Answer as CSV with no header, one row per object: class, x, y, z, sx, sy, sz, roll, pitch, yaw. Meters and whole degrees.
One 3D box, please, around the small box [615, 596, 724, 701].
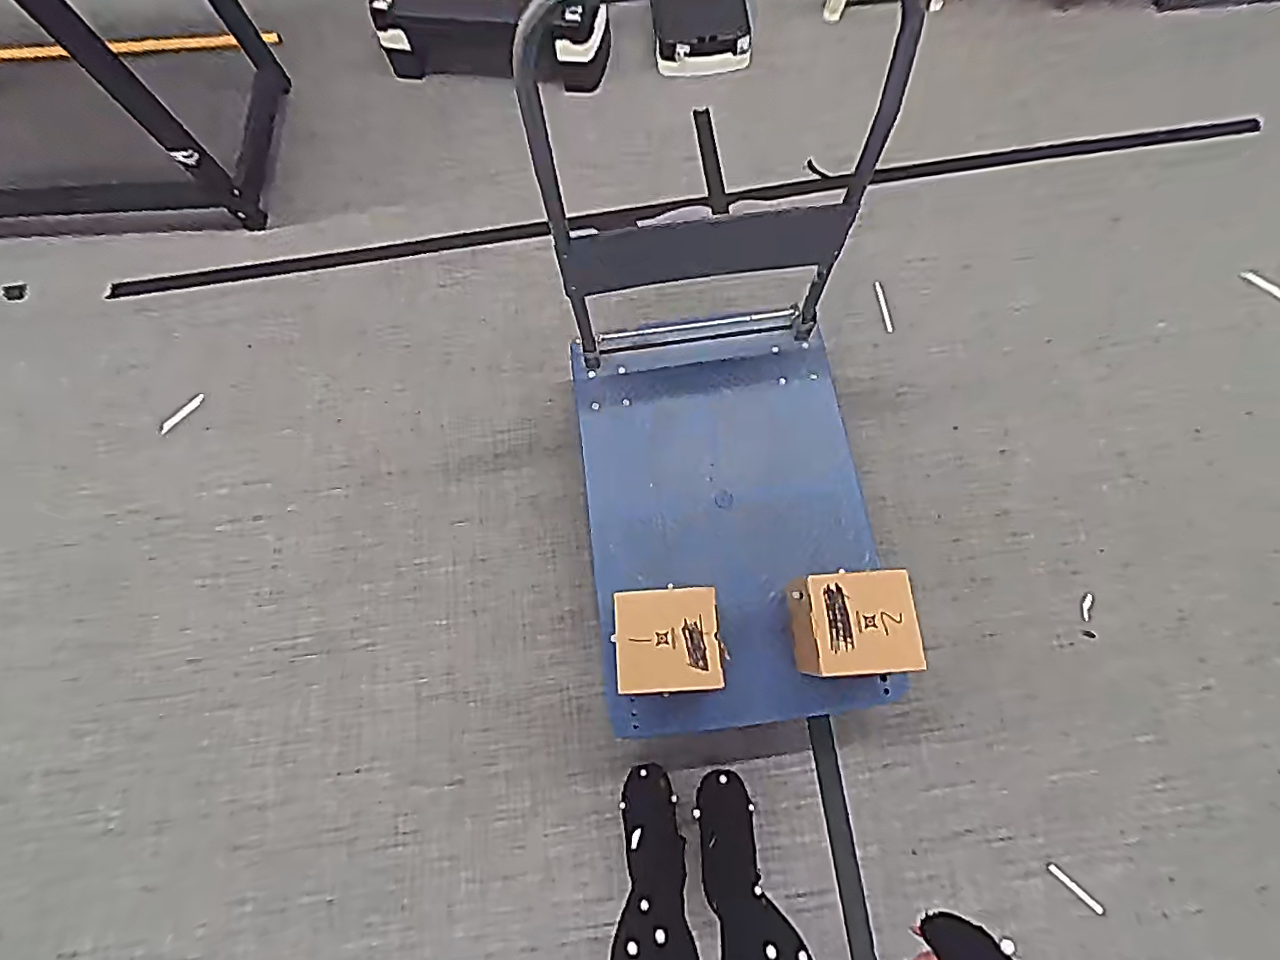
small box,0.050,0.300,0.977,0.179,0.176,0.168,-4,73,2
